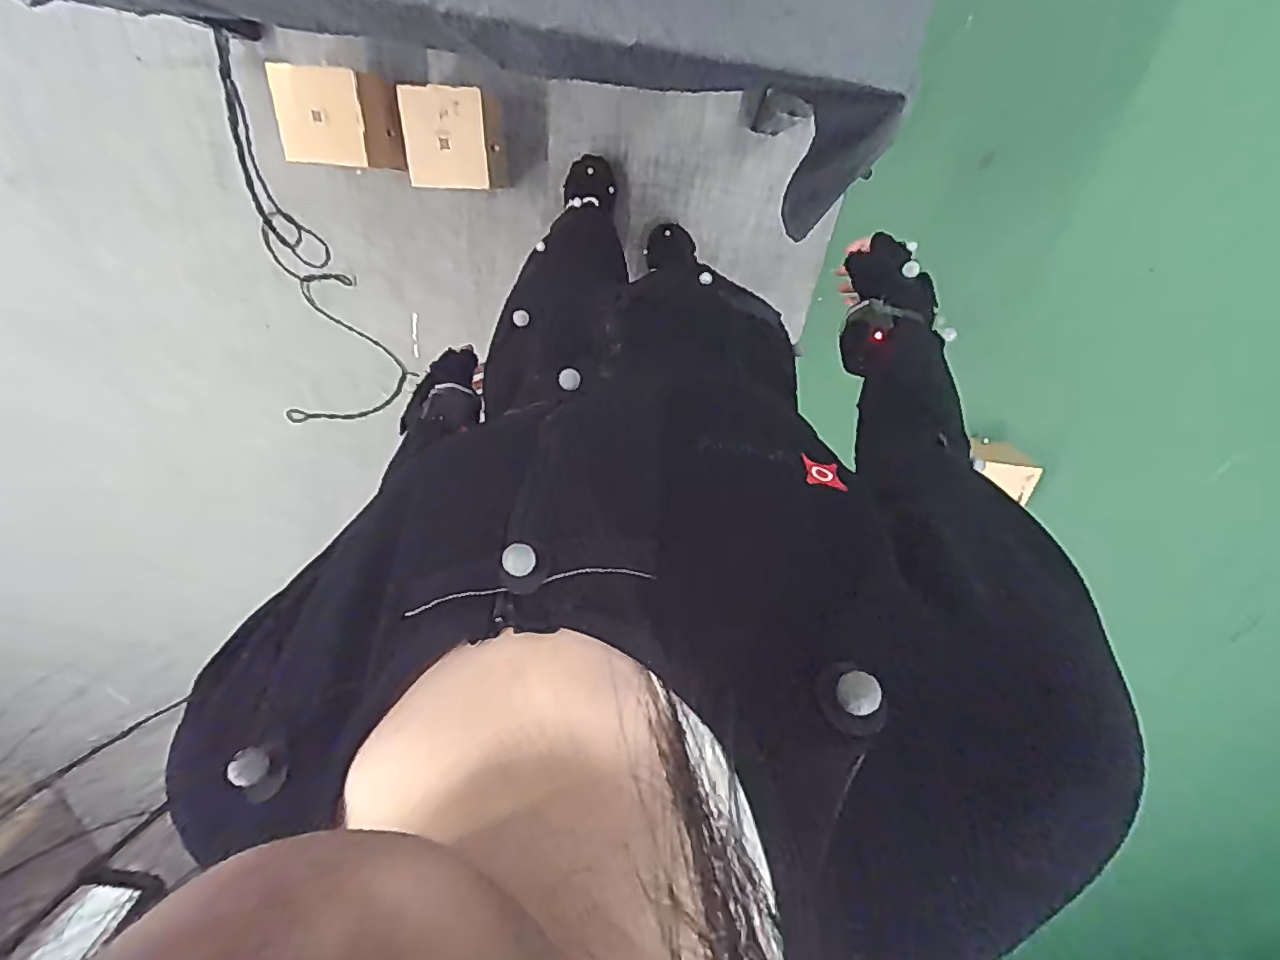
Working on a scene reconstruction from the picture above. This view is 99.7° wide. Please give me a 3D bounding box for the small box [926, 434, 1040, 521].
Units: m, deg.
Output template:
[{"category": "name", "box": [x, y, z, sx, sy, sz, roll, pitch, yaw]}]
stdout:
[{"category": "small box", "box": [0.909, -0.012, 1.458, 0.179, 0.176, 0.168, 8, 119, 0]}]
